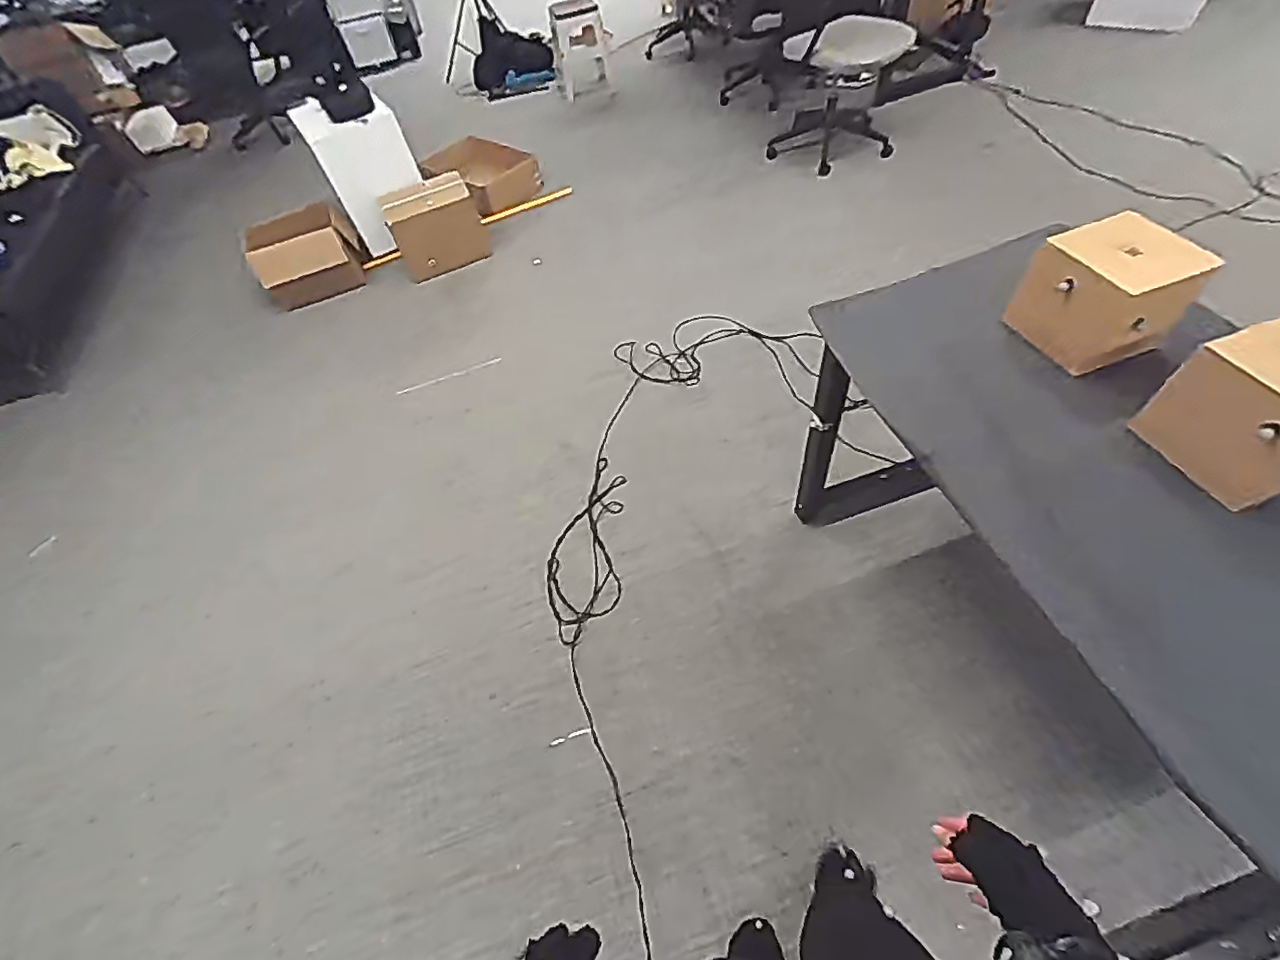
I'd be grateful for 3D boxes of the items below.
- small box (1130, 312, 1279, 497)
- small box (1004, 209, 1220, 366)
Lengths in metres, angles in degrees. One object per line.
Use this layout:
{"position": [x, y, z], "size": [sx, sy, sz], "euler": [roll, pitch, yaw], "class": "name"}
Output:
{"position": [0.844, -0.097, 0.731], "size": [0.168, 0.176, 0.179], "euler": [-20, 54, -6], "class": "small box"}
{"position": [0.765, -0.312, 0.903], "size": [0.168, 0.176, 0.179], "euler": [-20, 53, -5], "class": "small box"}
